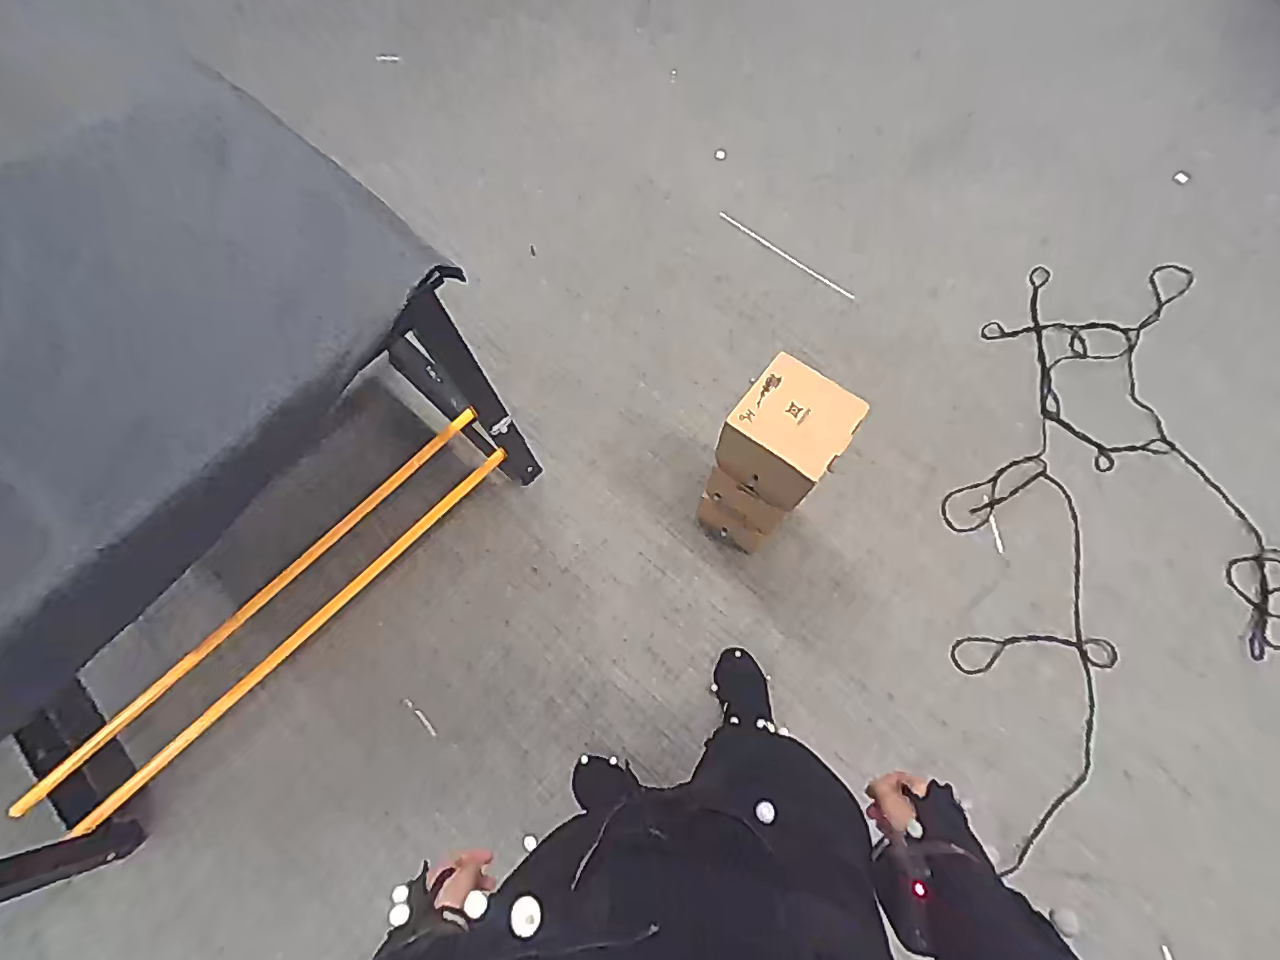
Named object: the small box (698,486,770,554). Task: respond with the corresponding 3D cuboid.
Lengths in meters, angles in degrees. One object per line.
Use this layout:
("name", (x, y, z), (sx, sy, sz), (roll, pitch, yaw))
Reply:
("small box", (0.247, 0.046, 1.250), (0.168, 0.176, 0.179), (35, 75, 13))

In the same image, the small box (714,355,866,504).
("small box", (0.251, -0.076, 0.946), (0.179, 0.176, 0.168), (37, 75, 12))

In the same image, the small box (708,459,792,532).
("small box", (0.252, -0.018, 1.099), (0.168, 0.176, 0.179), (36, 74, 13))
